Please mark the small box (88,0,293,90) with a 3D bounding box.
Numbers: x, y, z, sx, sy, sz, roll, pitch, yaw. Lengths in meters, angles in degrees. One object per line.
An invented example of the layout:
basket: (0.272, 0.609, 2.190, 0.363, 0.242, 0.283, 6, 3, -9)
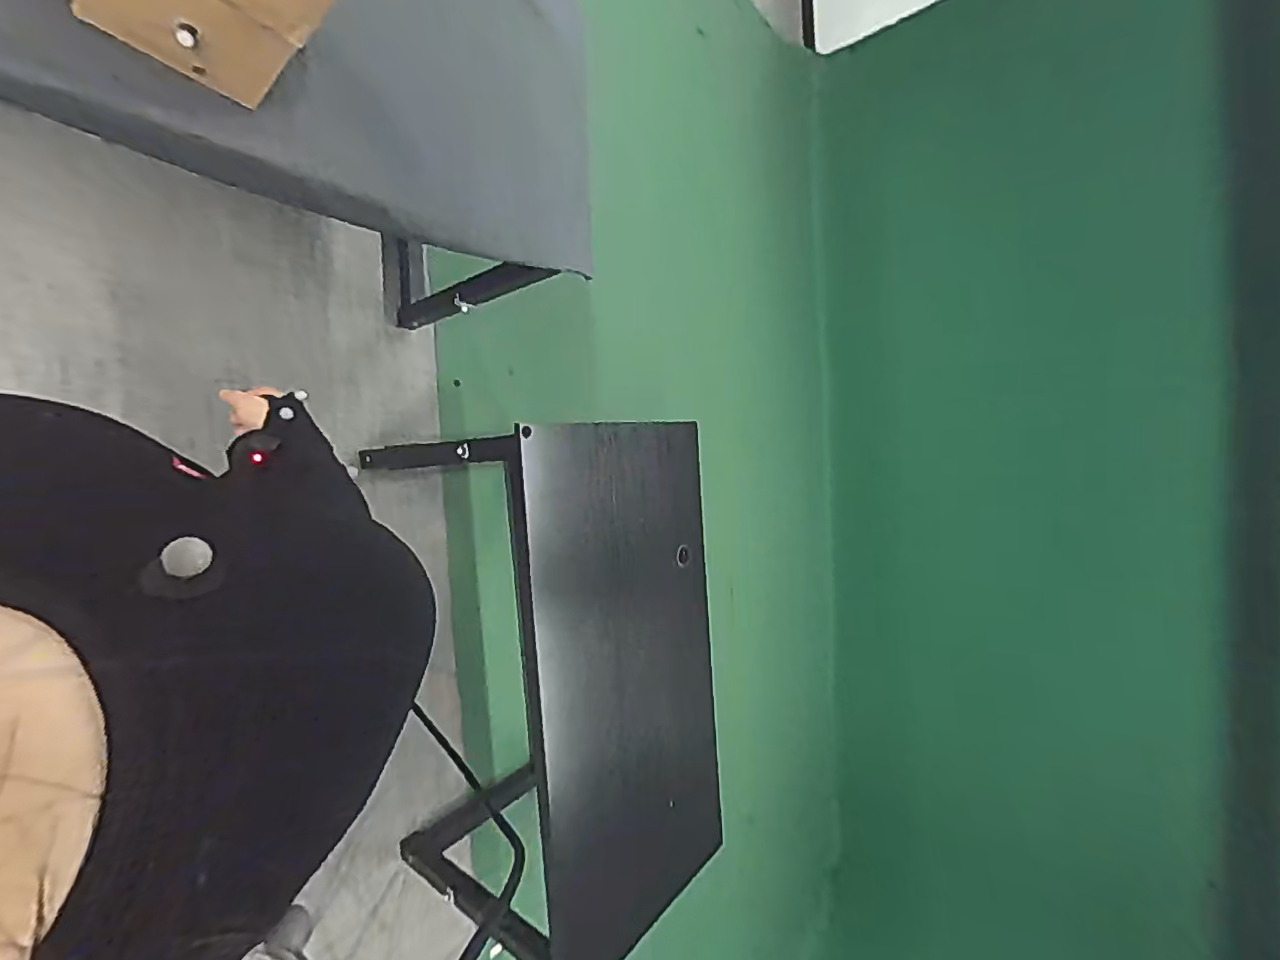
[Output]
small box: (-0.477, -0.573, 0.574, 0.168, 0.176, 0.179, 9, 83, -49)
